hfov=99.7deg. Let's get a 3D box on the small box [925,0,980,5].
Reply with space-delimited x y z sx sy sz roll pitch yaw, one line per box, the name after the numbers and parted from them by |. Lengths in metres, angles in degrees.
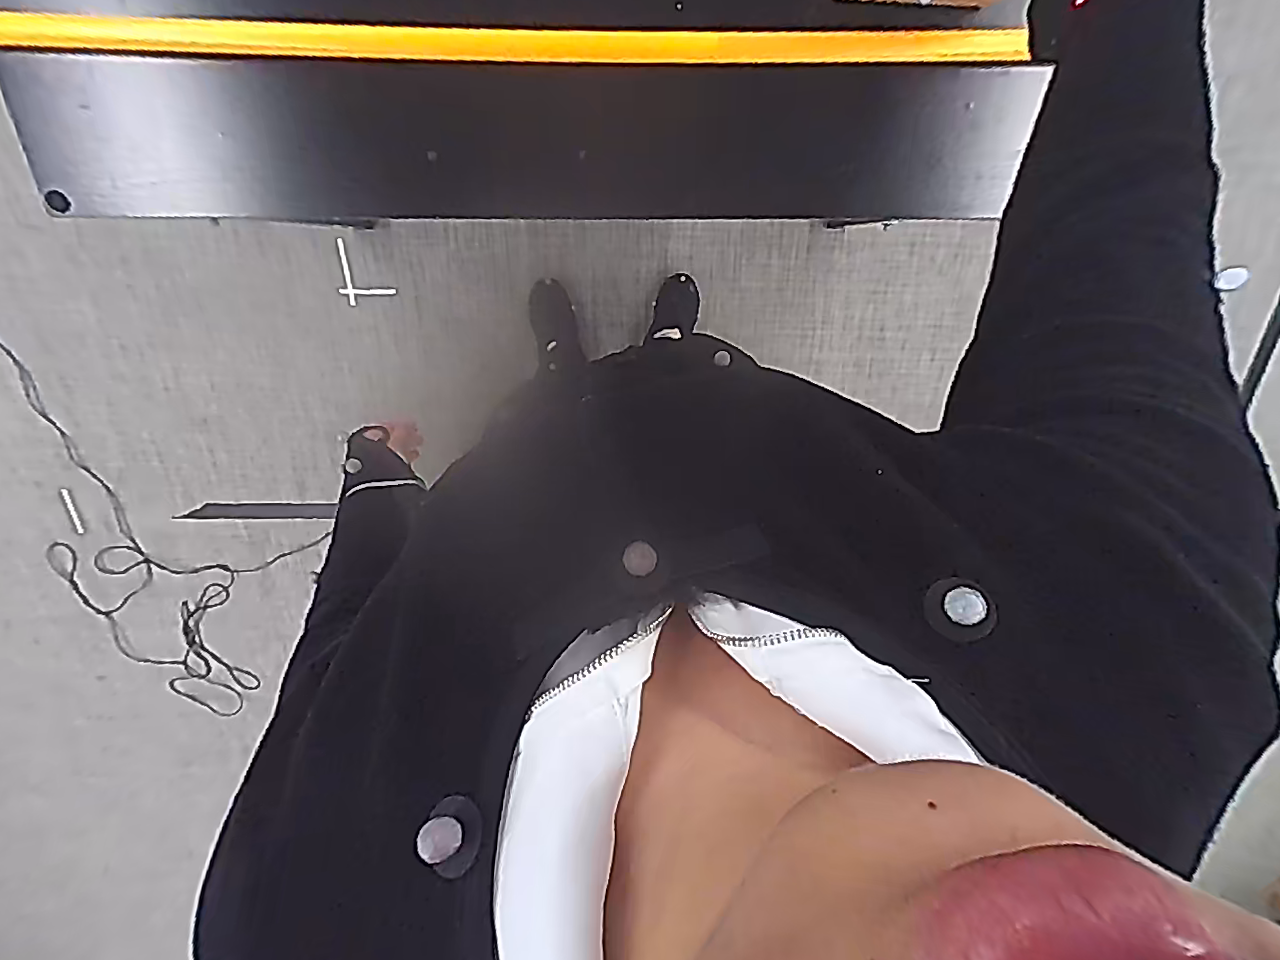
0.291 -0.553 0.458 0.168 0.176 0.179 1 113 -3 | small box
